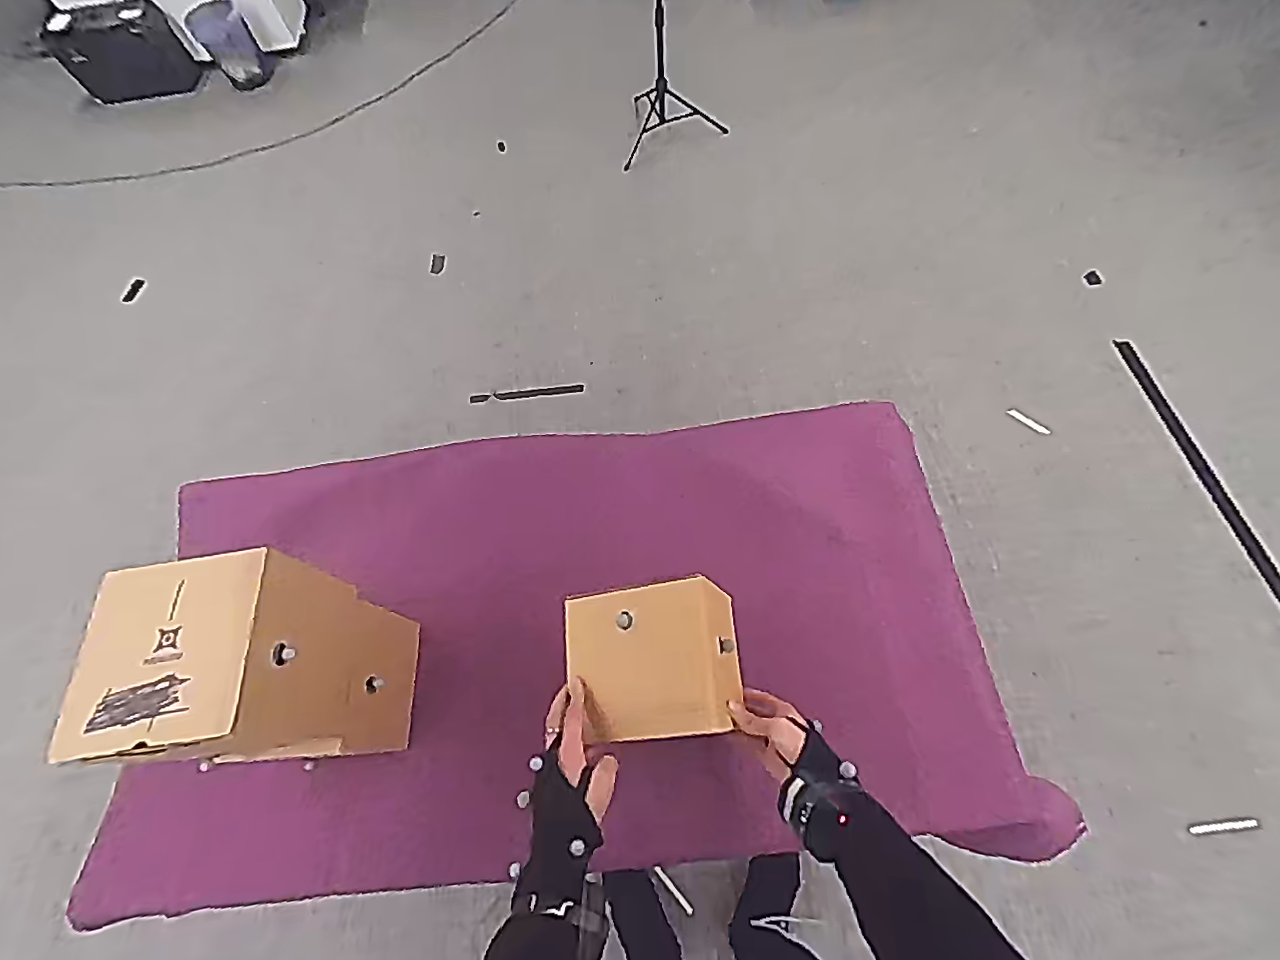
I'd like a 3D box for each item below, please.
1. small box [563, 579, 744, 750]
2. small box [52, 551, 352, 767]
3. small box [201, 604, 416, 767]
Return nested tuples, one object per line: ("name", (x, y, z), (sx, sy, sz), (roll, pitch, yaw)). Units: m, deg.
("small box", (0.021, 0.230, 0.671), (0.179, 0.168, 0.176), (-14, 65, 18))
("small box", (-0.432, 0.192, 0.573), (0.168, 0.176, 0.179), (-9, 64, 0))
("small box", (-0.416, 0.272, 0.716), (0.168, 0.176, 0.179), (-5, 64, 1))
